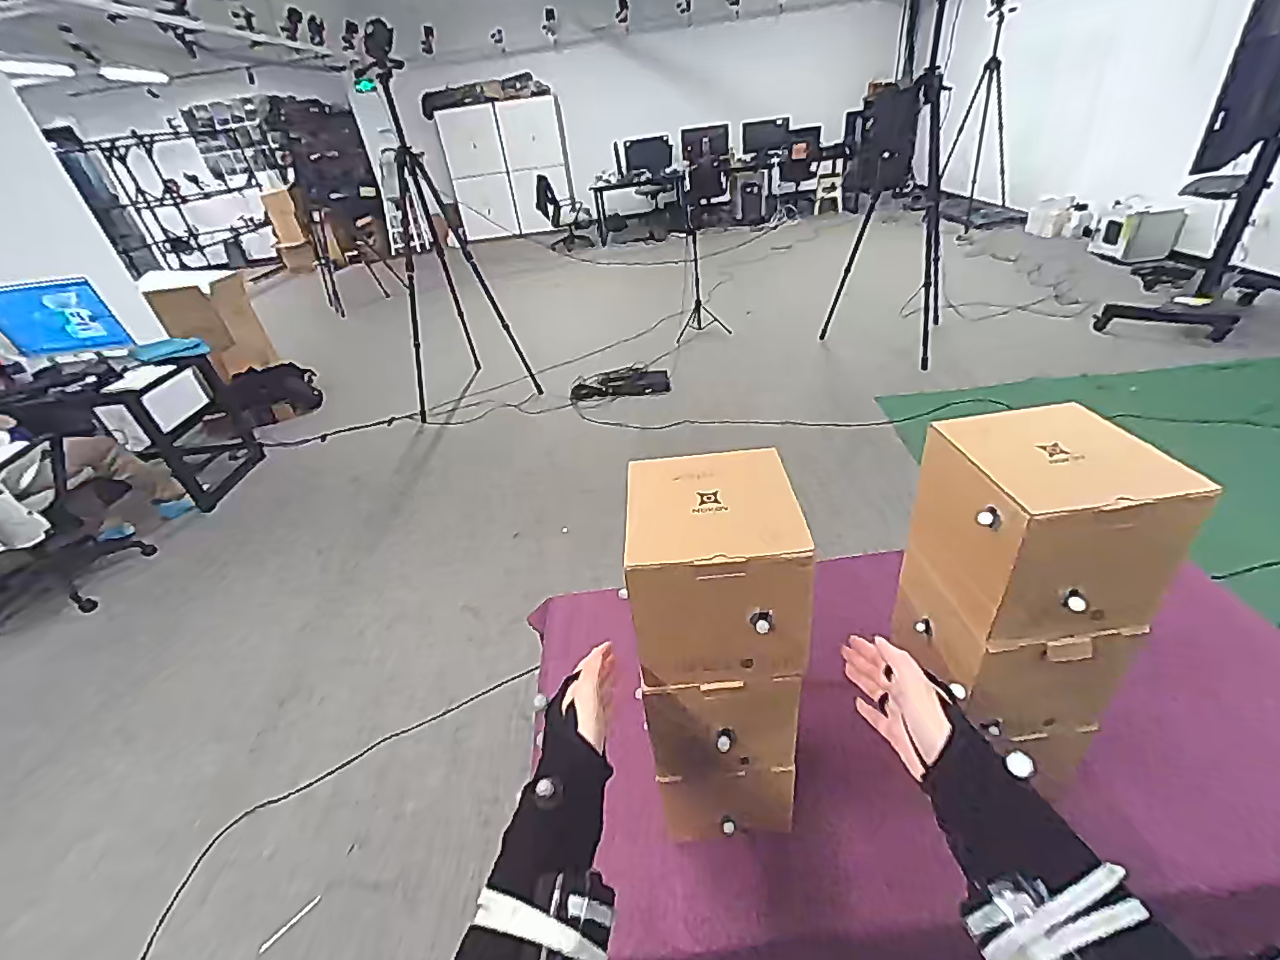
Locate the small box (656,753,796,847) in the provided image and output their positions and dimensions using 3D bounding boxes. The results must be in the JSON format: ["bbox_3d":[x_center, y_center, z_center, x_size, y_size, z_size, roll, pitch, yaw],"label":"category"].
[{"bbox_3d":[0.109,0.368,0.746,0.168,0.176,0.179,-8,33,2],"label":"small box"}]

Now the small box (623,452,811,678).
[{"bbox_3d":[0.077,0.092,0.572,0.168,0.176,0.179,-5,32,4],"label":"small box"}]

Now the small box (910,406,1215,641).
[{"bbox_3d":[0.413,0.041,0.573,0.168,0.176,0.179,-8,33,0],"label":"small box"}]

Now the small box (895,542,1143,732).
[{"bbox_3d":[0.432,0.182,0.655,0.168,0.176,0.179,-8,32,1],"label":"small box"}]

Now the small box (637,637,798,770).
[{"bbox_3d":[0.088,0.230,0.659,0.168,0.176,0.179,-7,34,2],"label":"small box"}]
